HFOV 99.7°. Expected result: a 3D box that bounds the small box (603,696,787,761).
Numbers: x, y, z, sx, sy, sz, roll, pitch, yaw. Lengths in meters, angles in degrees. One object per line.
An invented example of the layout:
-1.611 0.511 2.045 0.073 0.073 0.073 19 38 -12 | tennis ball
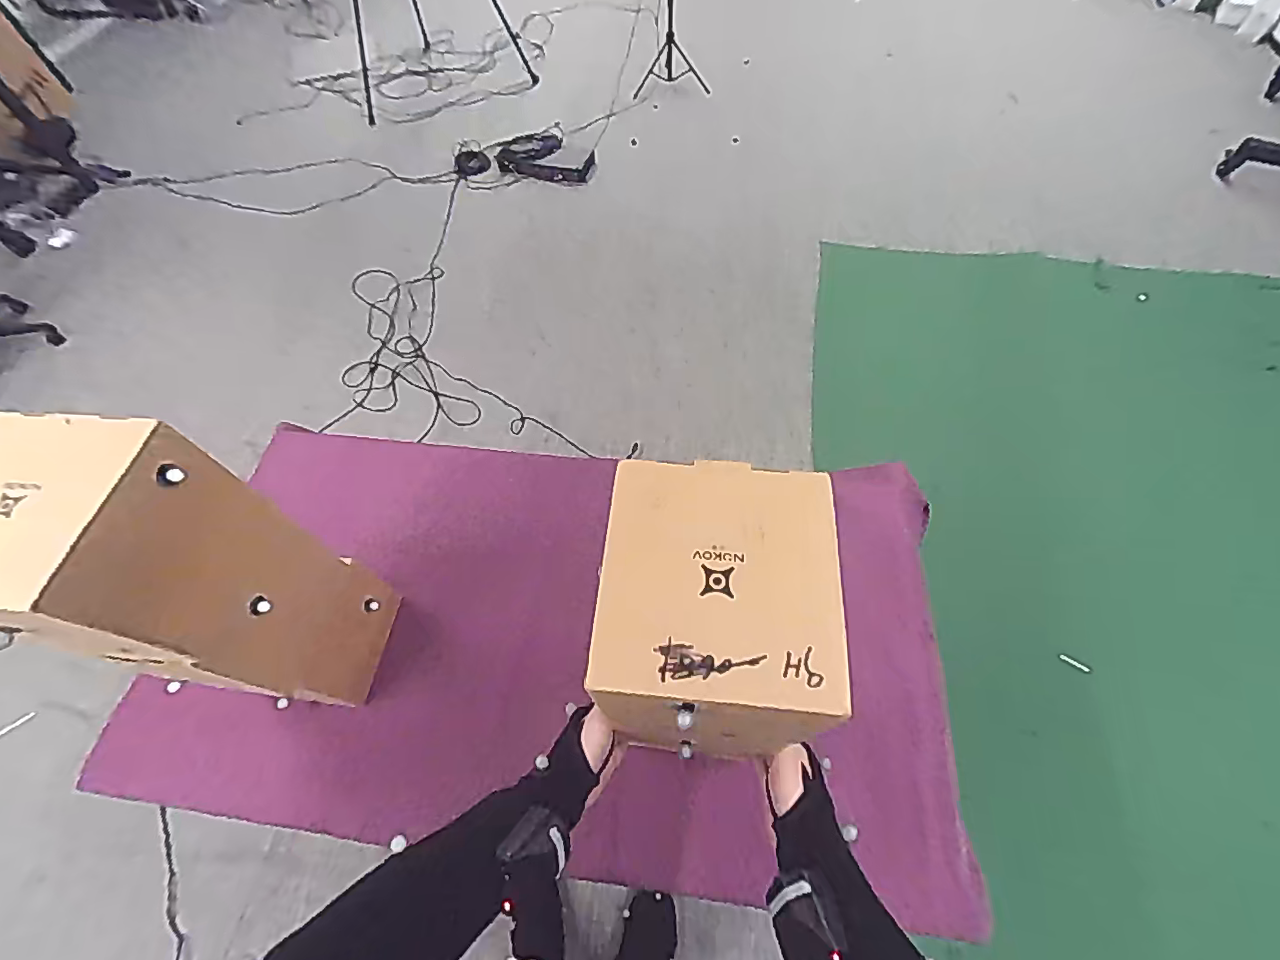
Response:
0.063 0.188 0.575 0.168 0.176 0.179 6 59 6 | small box

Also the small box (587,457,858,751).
0.060 0.104 0.434 0.168 0.176 0.179 4 59 6 | small box

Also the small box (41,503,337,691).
-0.495 0.135 0.629 0.168 0.176 0.179 5 58 6 | small box

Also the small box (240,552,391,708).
-0.487 0.211 0.774 0.168 0.176 0.179 5 59 6 | small box

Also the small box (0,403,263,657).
-0.496 0.052 0.490 0.168 0.176 0.179 3 58 5 | small box
